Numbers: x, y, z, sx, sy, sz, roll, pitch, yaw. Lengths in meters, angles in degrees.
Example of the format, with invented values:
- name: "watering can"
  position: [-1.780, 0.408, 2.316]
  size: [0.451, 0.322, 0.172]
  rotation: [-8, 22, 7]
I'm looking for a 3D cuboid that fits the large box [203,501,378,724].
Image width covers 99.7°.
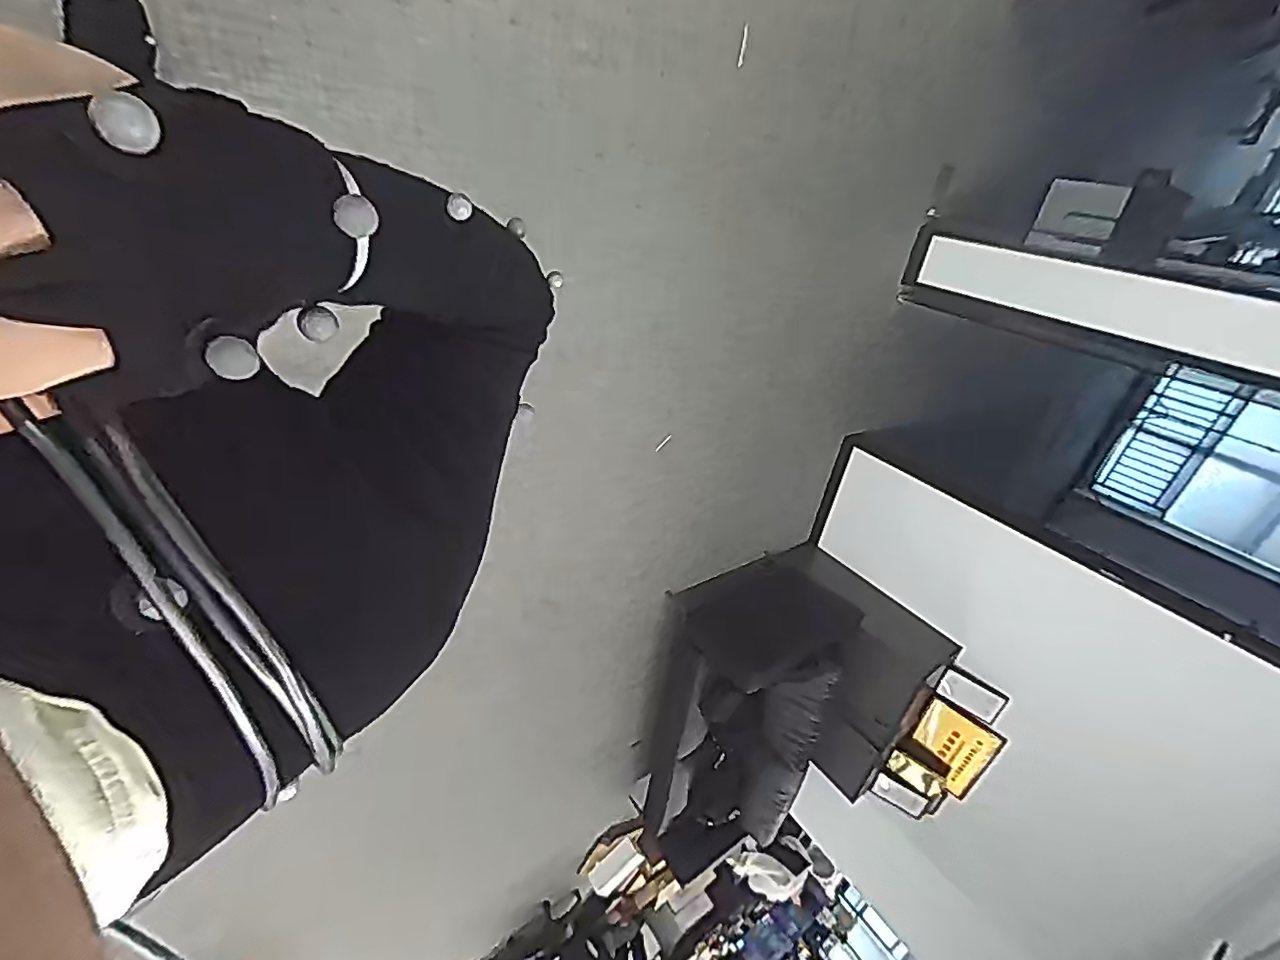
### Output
- name: "large box"
  position: [-0.880, 0.318, 1.381]
  size: [0.320, 0.320, 0.408]
  rotation: [-9, 125, -38]
